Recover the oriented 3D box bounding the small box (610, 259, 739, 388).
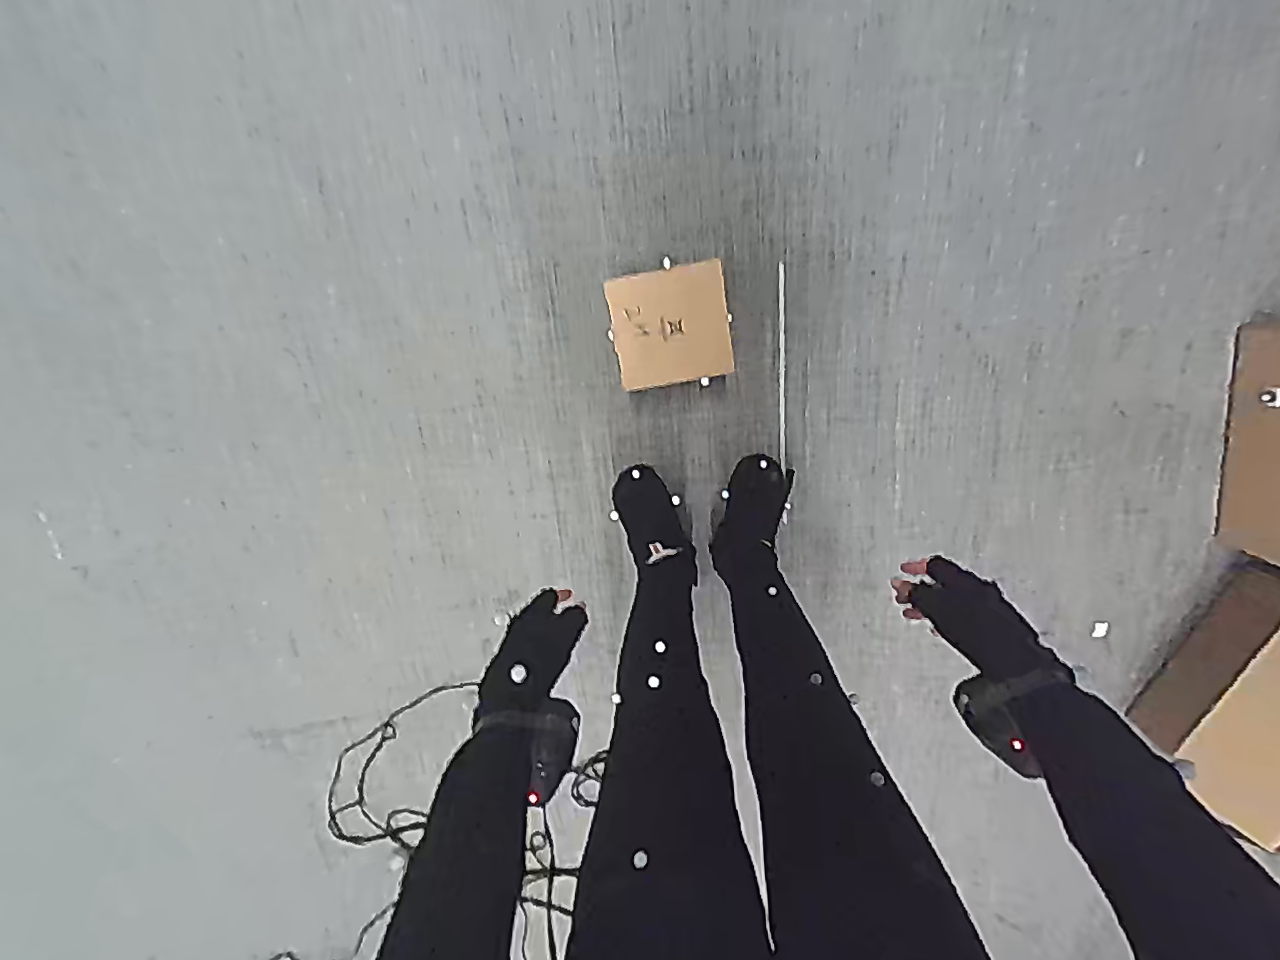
[{"bbox_3d":[0.055,-0.254,0.877,0.179,0.176,0.168,-9,107,6],"label":"small box"}]
